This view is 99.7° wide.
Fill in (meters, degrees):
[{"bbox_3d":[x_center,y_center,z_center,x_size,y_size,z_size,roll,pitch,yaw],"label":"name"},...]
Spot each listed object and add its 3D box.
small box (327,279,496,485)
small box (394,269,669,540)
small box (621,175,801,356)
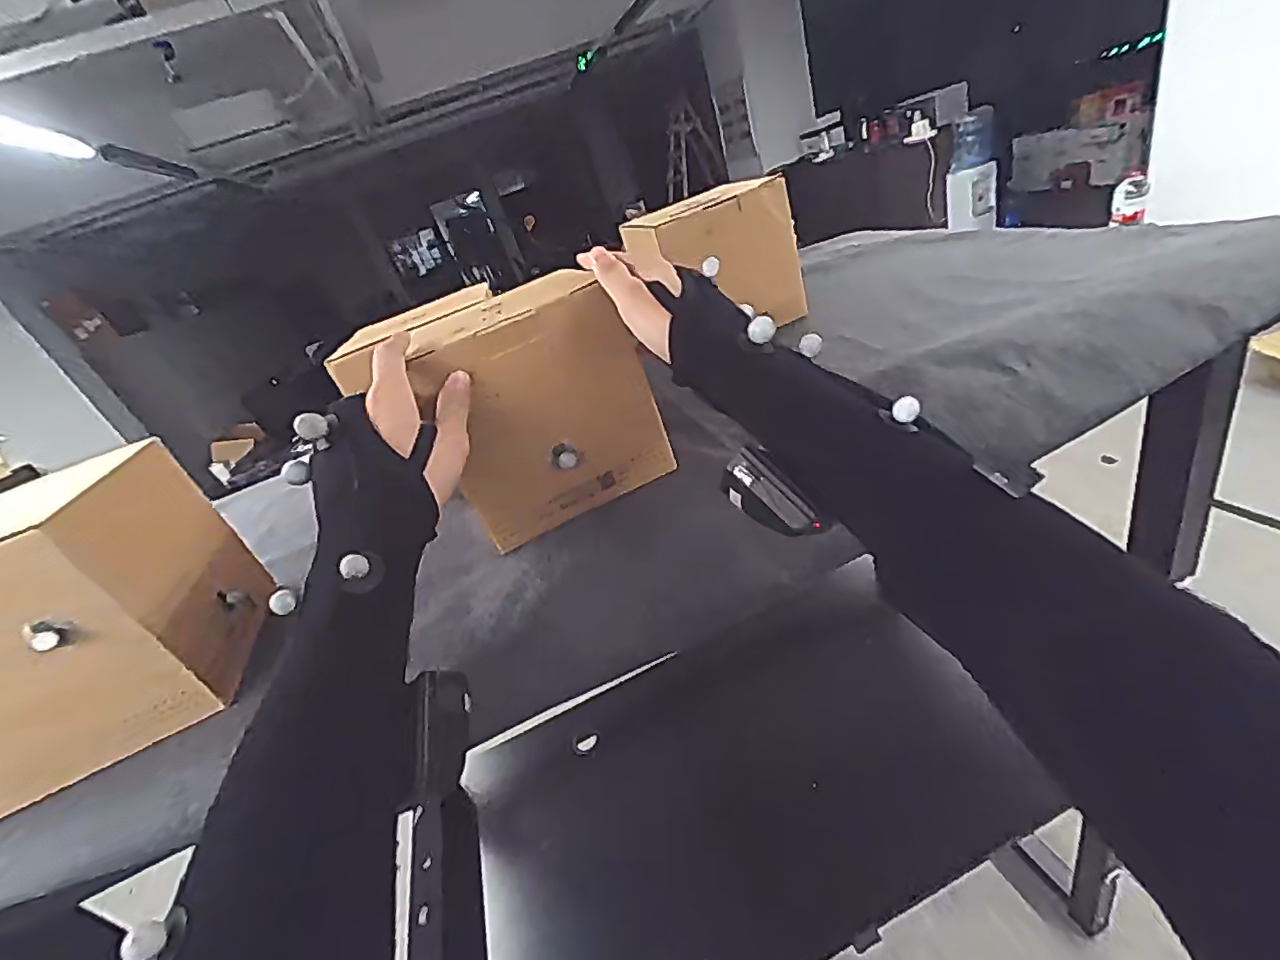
[{"bbox_3d":[-0.230,-0.122,0.656,0.179,0.176,0.168,-23,29,-3],"label":"small box"},{"bbox_3d":[-0.094,-0.075,0.485,0.168,0.176,0.179,-26,29,-9],"label":"small box"},{"bbox_3d":[0.094,-0.281,0.719,0.168,0.176,0.179,-23,29,-5],"label":"small box"}]
